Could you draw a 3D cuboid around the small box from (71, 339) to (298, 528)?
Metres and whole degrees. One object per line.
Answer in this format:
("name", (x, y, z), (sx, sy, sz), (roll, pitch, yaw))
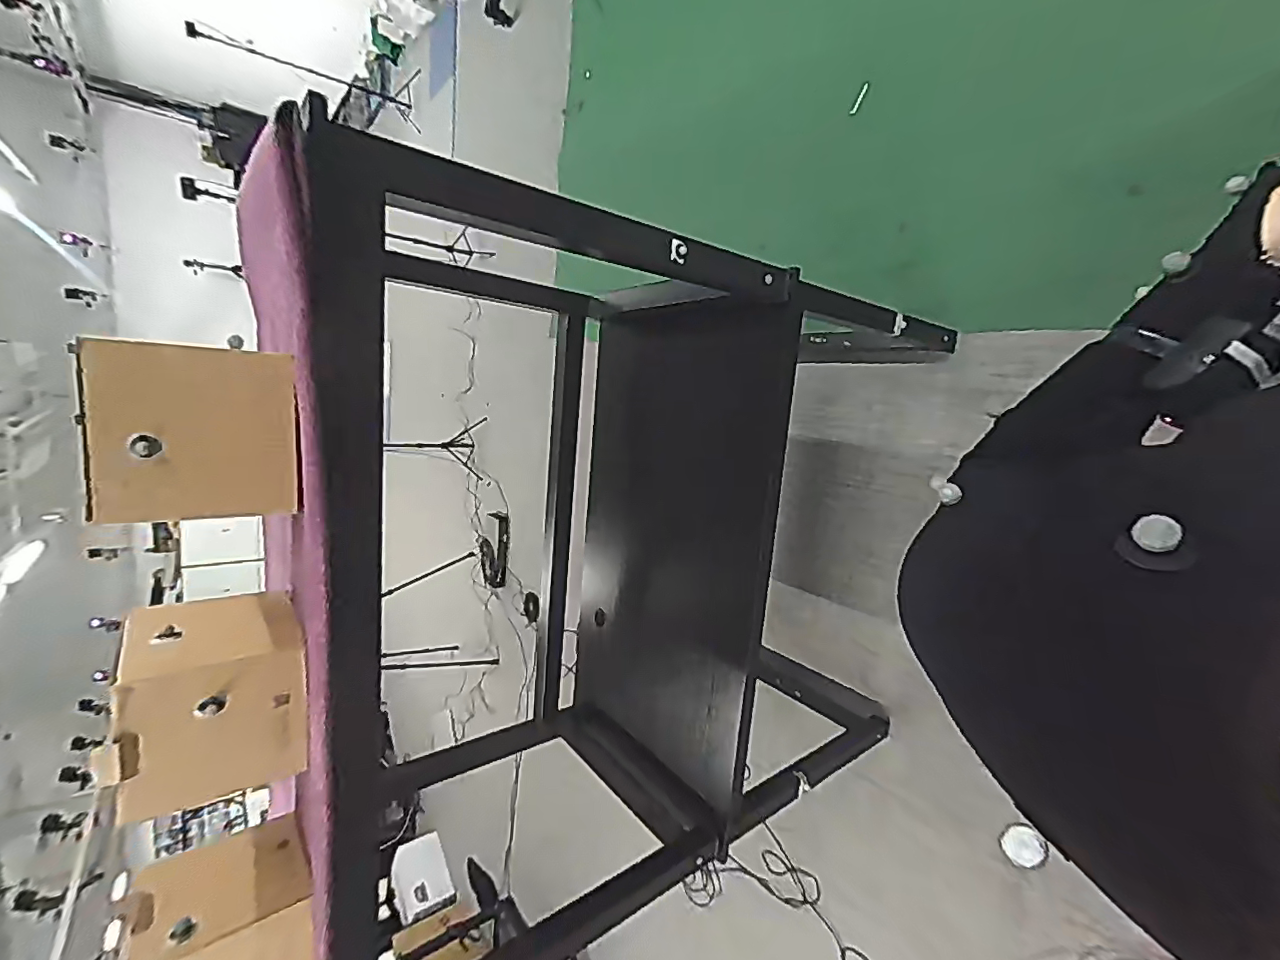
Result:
("small box", (-0.483, -0.056, 0.599), (0.168, 0.176, 0.179), (15, 104, 52))

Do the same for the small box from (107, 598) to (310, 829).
("small box", (-0.499, 0.253, 0.641), (0.179, 0.176, 0.168), (20, 106, 50))
